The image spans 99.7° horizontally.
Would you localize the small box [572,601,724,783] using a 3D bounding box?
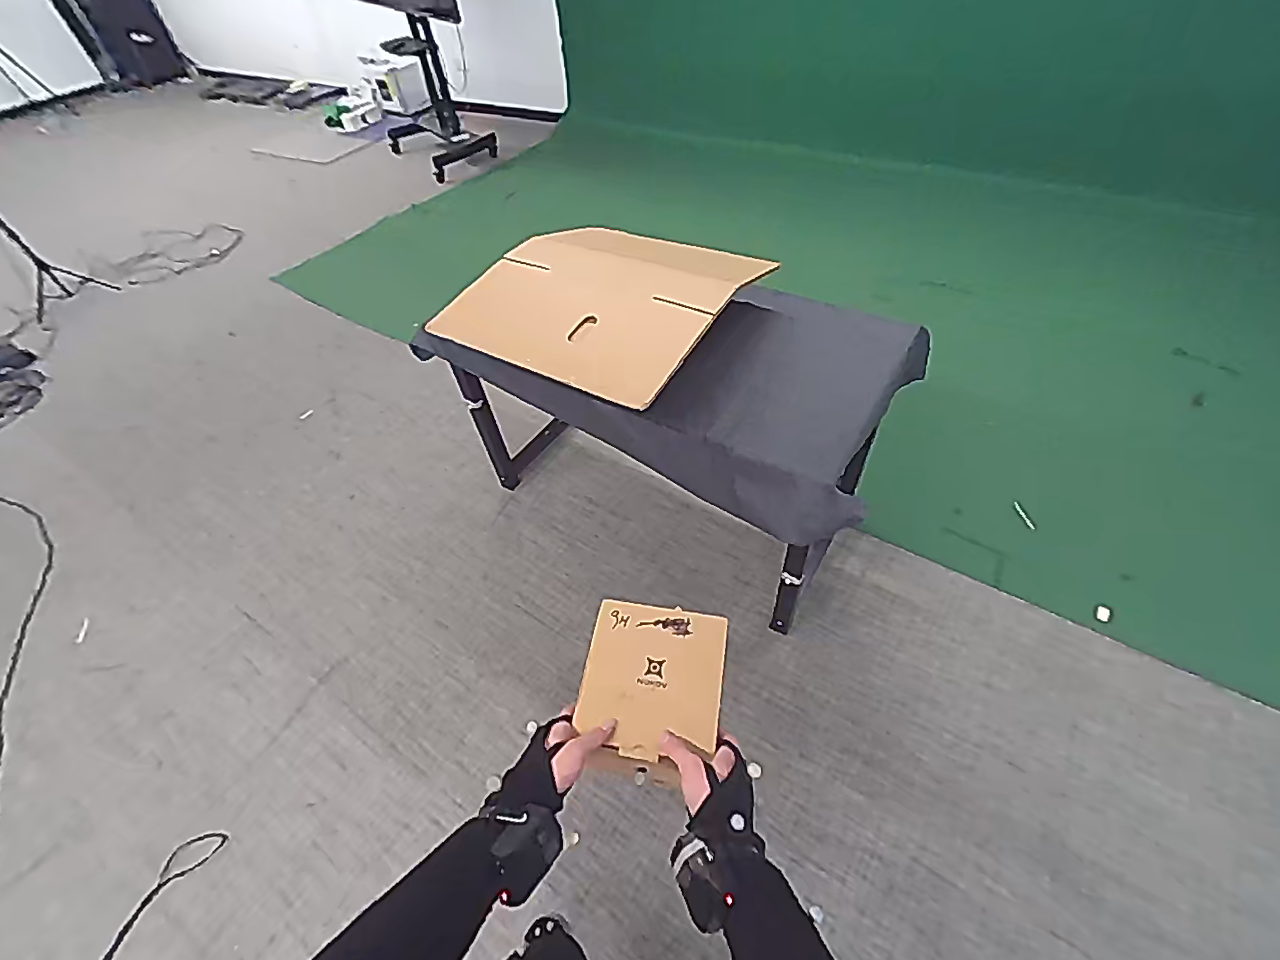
[{"bbox_3d":[0.020,0.283,0.713,0.168,0.176,0.179,5,52,7],"label":"small box"}]
